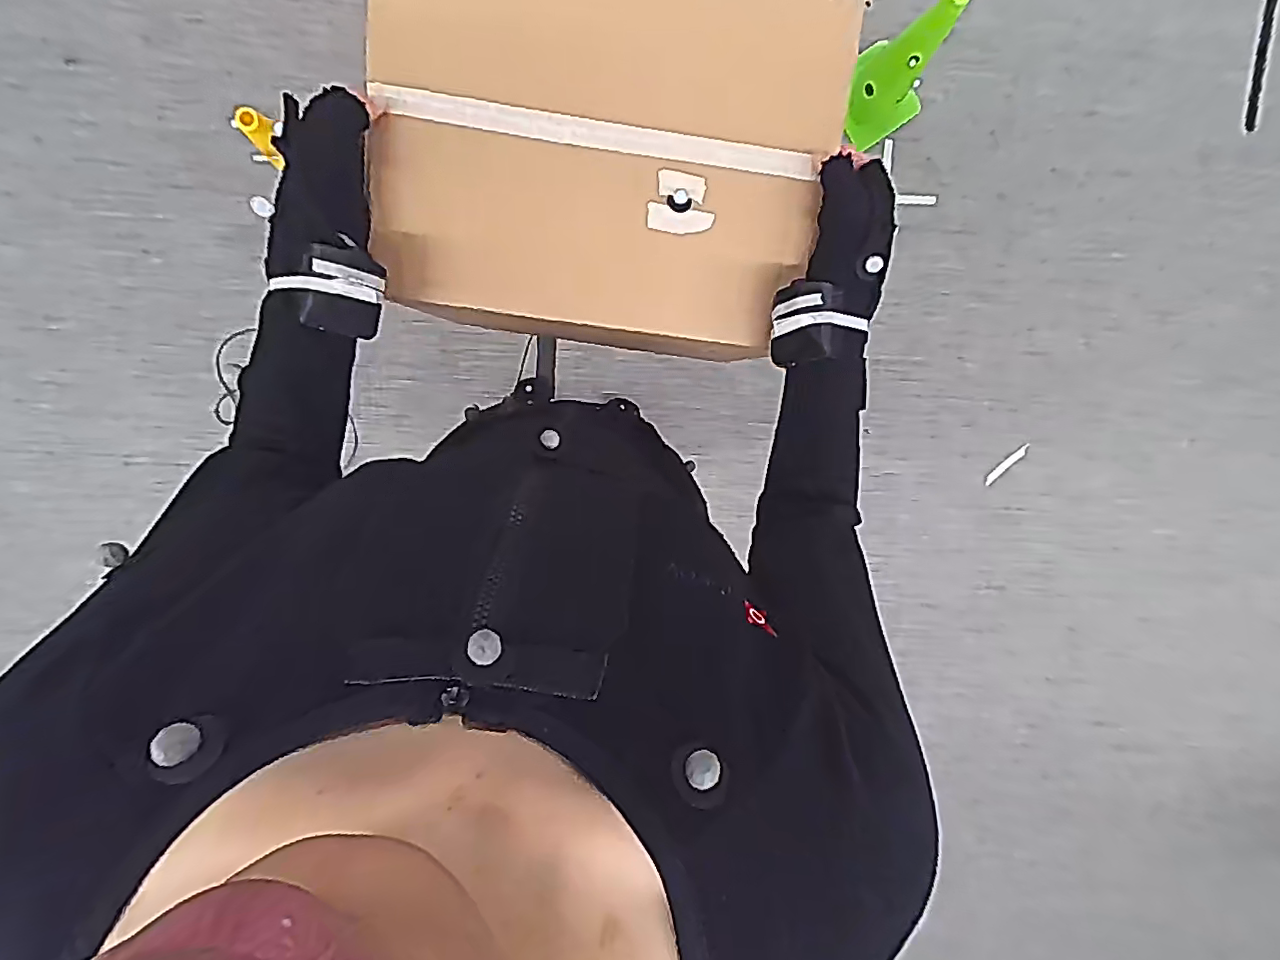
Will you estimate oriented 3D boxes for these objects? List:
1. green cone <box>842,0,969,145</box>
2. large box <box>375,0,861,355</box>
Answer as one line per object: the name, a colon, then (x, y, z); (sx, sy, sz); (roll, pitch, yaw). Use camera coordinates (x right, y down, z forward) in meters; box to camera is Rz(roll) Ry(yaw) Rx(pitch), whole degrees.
green cone: (0.607, -0.955, 1.194); (0.202, 0.368, 0.200); (-35, 100, 1)
large box: (-0.035, -0.326, 0.616); (0.408, 0.320, 0.320); (7, 101, -5)
